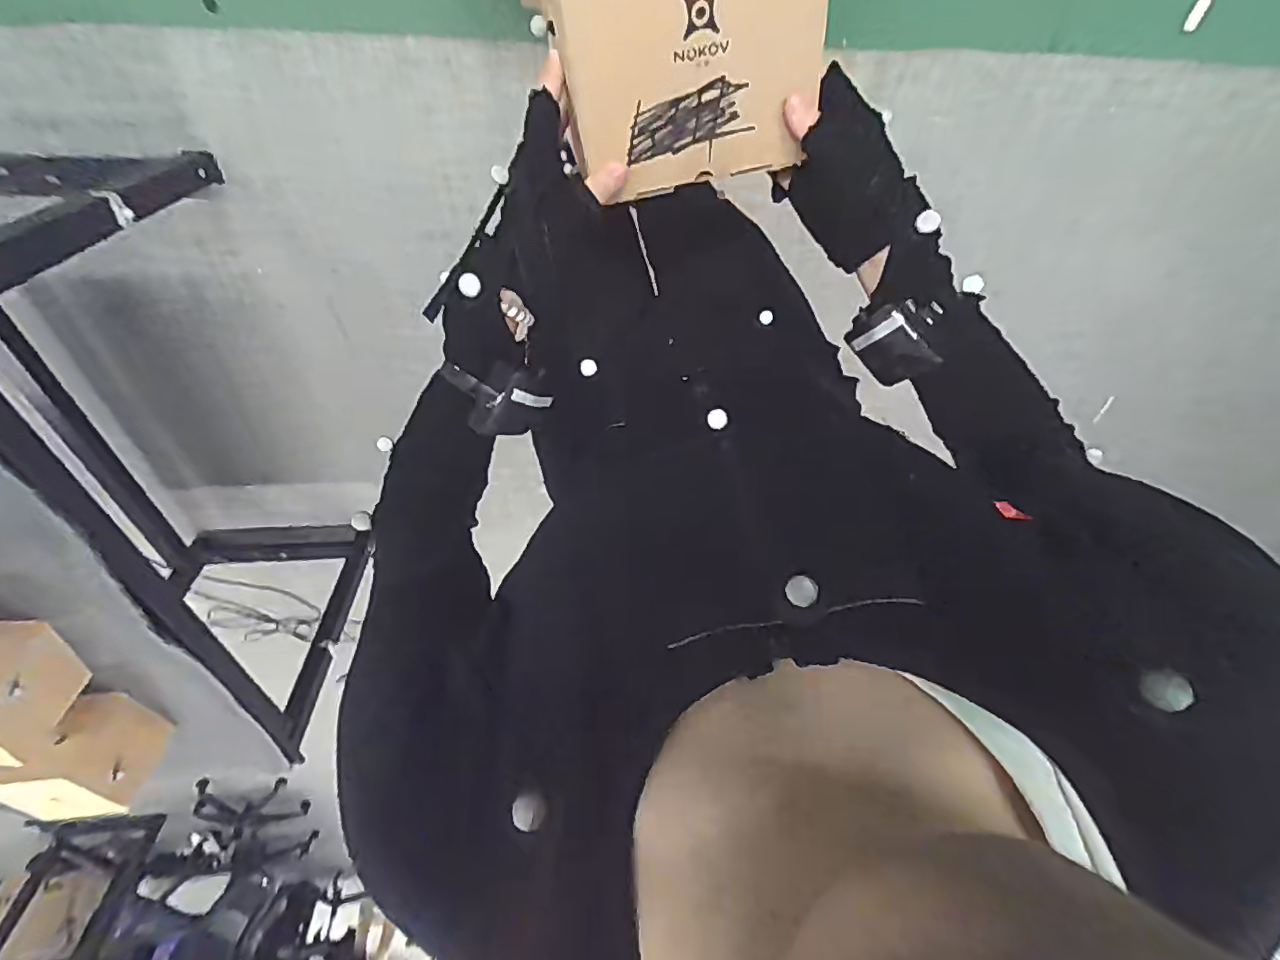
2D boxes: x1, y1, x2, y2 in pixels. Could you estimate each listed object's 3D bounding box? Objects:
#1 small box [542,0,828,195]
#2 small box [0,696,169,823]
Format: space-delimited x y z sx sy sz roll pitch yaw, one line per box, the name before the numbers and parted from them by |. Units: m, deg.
small box | 0.020 -0.335 0.381 0.168 0.176 0.179 -14 137 -3
small box | -1.084 0.533 1.044 0.168 0.176 0.179 -6 132 -1
